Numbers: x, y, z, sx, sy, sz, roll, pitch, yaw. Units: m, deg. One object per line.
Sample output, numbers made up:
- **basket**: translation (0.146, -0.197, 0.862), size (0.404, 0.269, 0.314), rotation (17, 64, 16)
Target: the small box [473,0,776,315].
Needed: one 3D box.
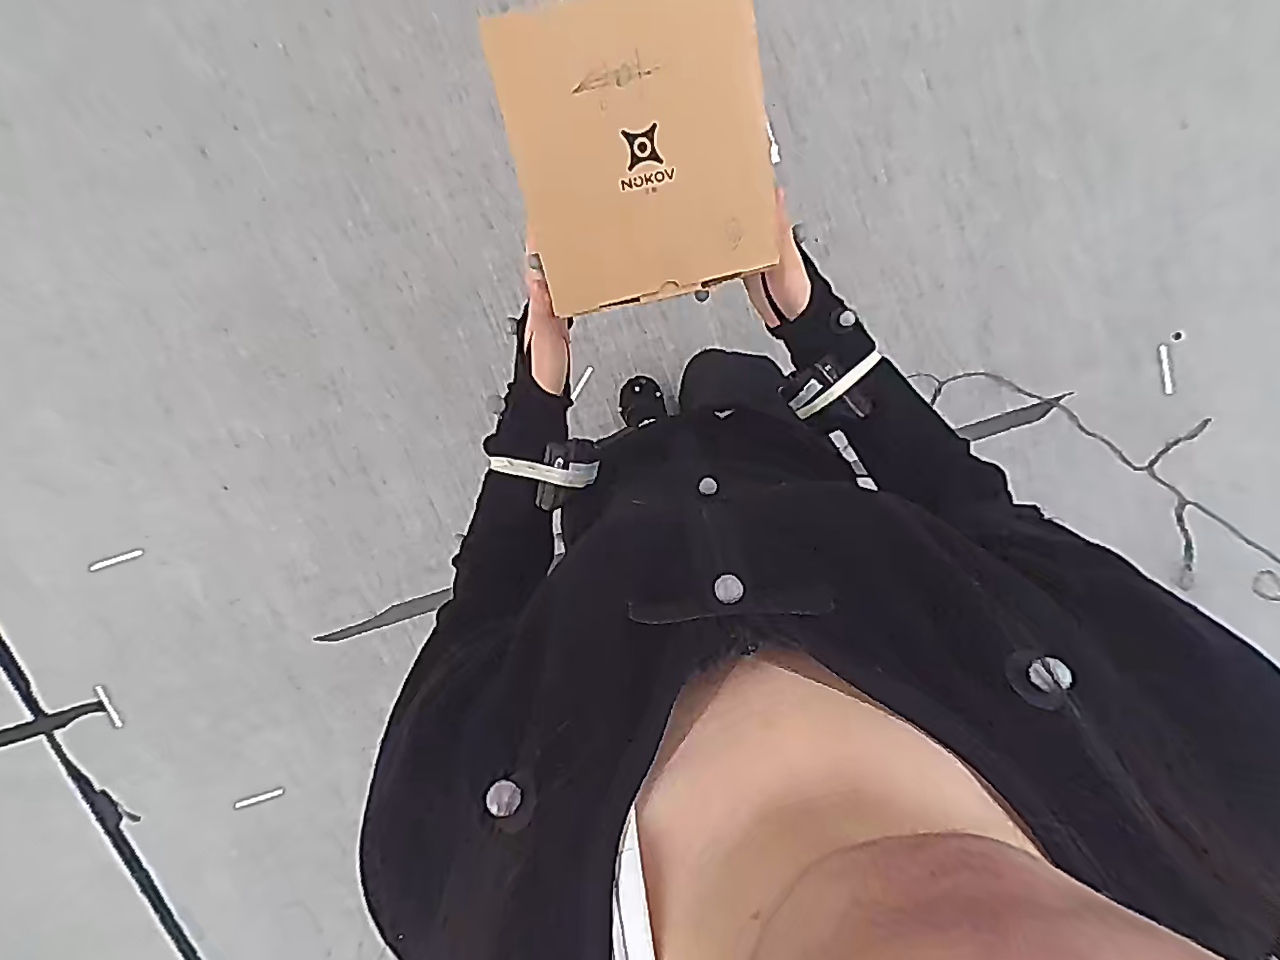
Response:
- **small box**: translation (-0.008, -0.240, 0.422), size (0.168, 0.176, 0.179), rotation (-15, 110, 0)
